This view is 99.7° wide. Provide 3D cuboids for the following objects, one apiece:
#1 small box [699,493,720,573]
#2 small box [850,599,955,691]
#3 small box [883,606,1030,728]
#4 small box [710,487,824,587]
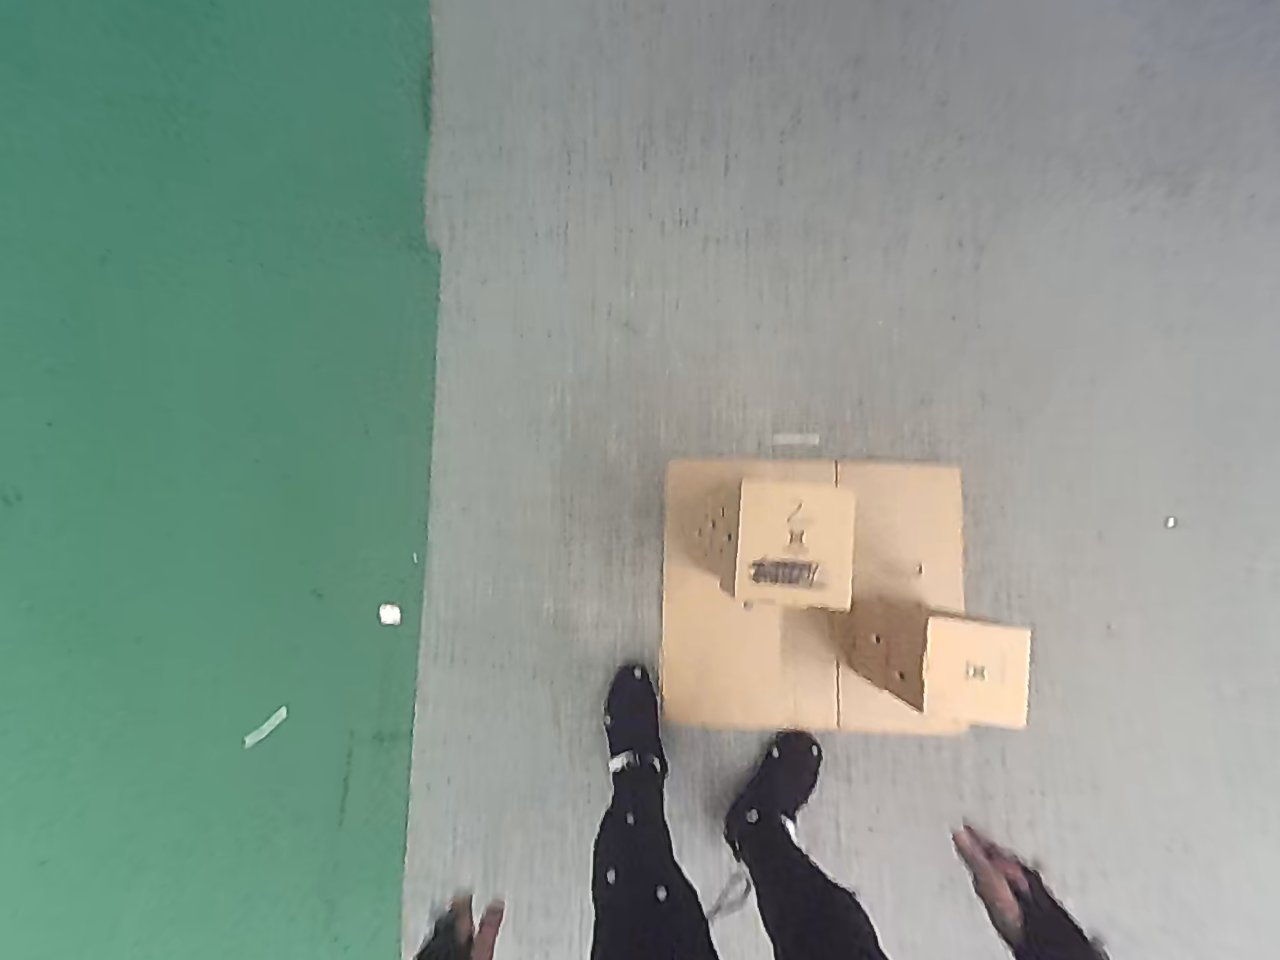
[{"bbox_3d":[0.227,0.119,1.177,0.179,0.176,0.168,3,84,1],"label":"small box"},{"bbox_3d":[0.570,0.350,1.152,0.179,0.176,0.168,5,84,1],"label":"small box"},{"bbox_3d":[0.566,0.330,0.989,0.179,0.176,0.168,7,85,2],"label":"small box"},{"bbox_3d":[0.231,0.103,1.016,0.179,0.176,0.168,3,85,2],"label":"small box"}]
